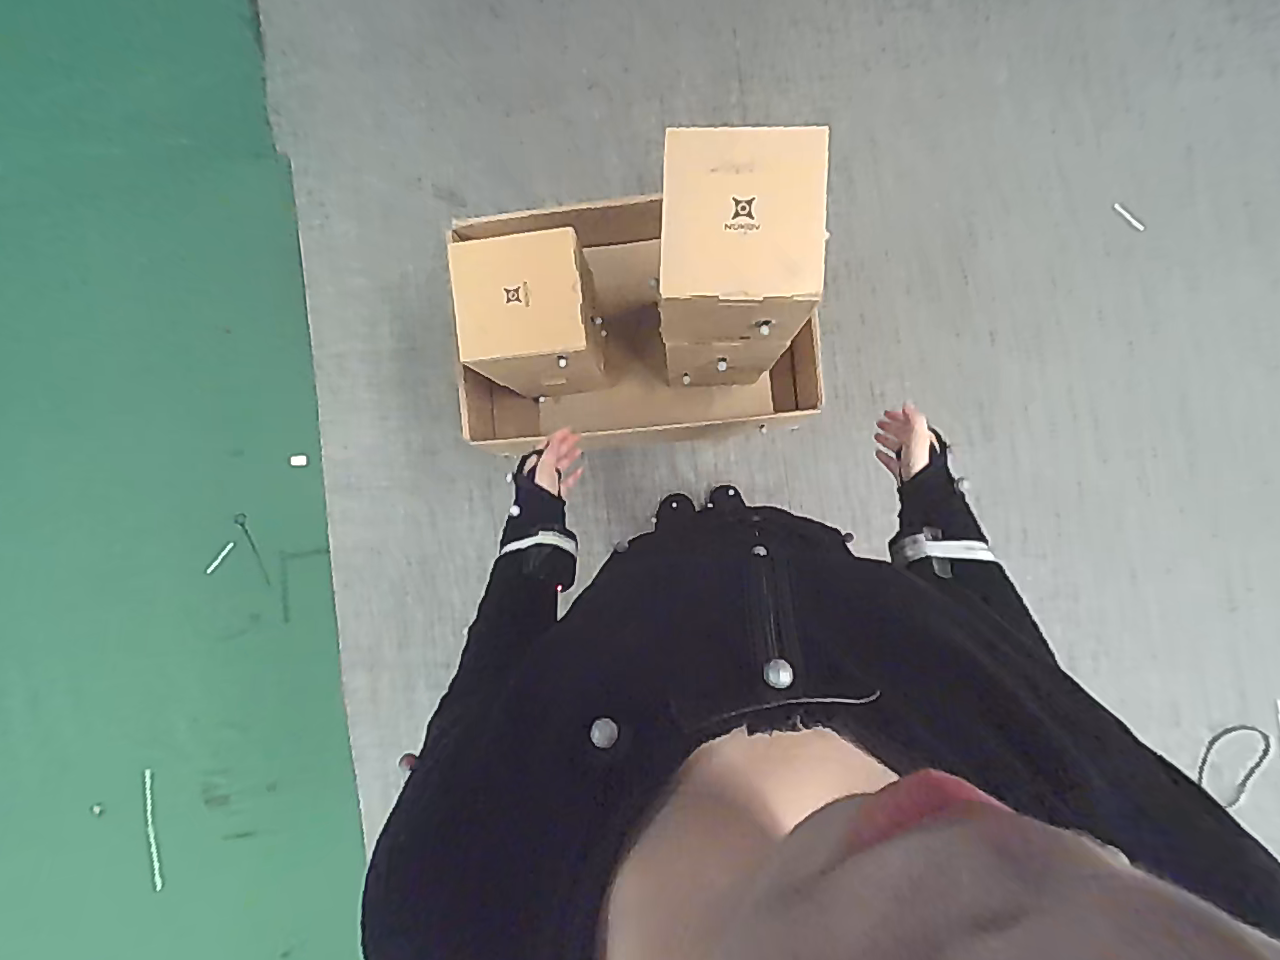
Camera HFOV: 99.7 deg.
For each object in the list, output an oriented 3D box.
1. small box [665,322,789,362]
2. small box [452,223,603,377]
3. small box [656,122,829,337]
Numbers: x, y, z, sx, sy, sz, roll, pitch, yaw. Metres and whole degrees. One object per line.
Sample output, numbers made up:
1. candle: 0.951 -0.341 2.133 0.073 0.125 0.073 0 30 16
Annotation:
1. small box: 0.123 -0.271 0.786 0.168 0.176 0.179 1 91 4
2. small box: -0.159 -0.257 0.811 0.179 0.176 0.168 -6 90 4
3. small box: 0.109 -0.272 0.622 0.168 0.176 0.179 3 89 4
